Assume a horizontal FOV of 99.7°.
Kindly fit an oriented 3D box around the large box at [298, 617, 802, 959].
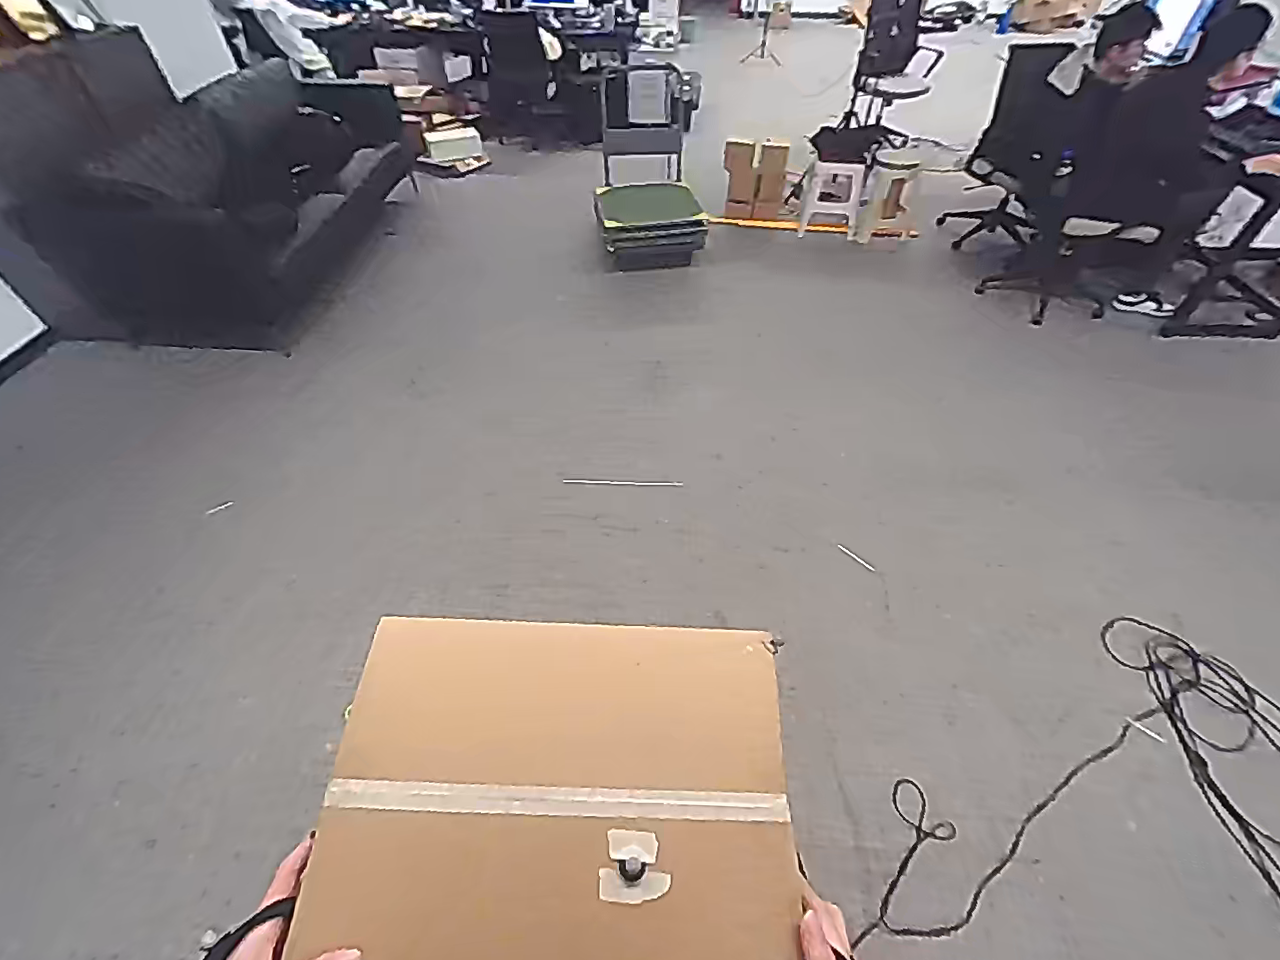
[{"bbox_3d":[-0.074,0.359,0.614,0.408,0.320,0.320,2,58,-1],"label":"large box"}]
